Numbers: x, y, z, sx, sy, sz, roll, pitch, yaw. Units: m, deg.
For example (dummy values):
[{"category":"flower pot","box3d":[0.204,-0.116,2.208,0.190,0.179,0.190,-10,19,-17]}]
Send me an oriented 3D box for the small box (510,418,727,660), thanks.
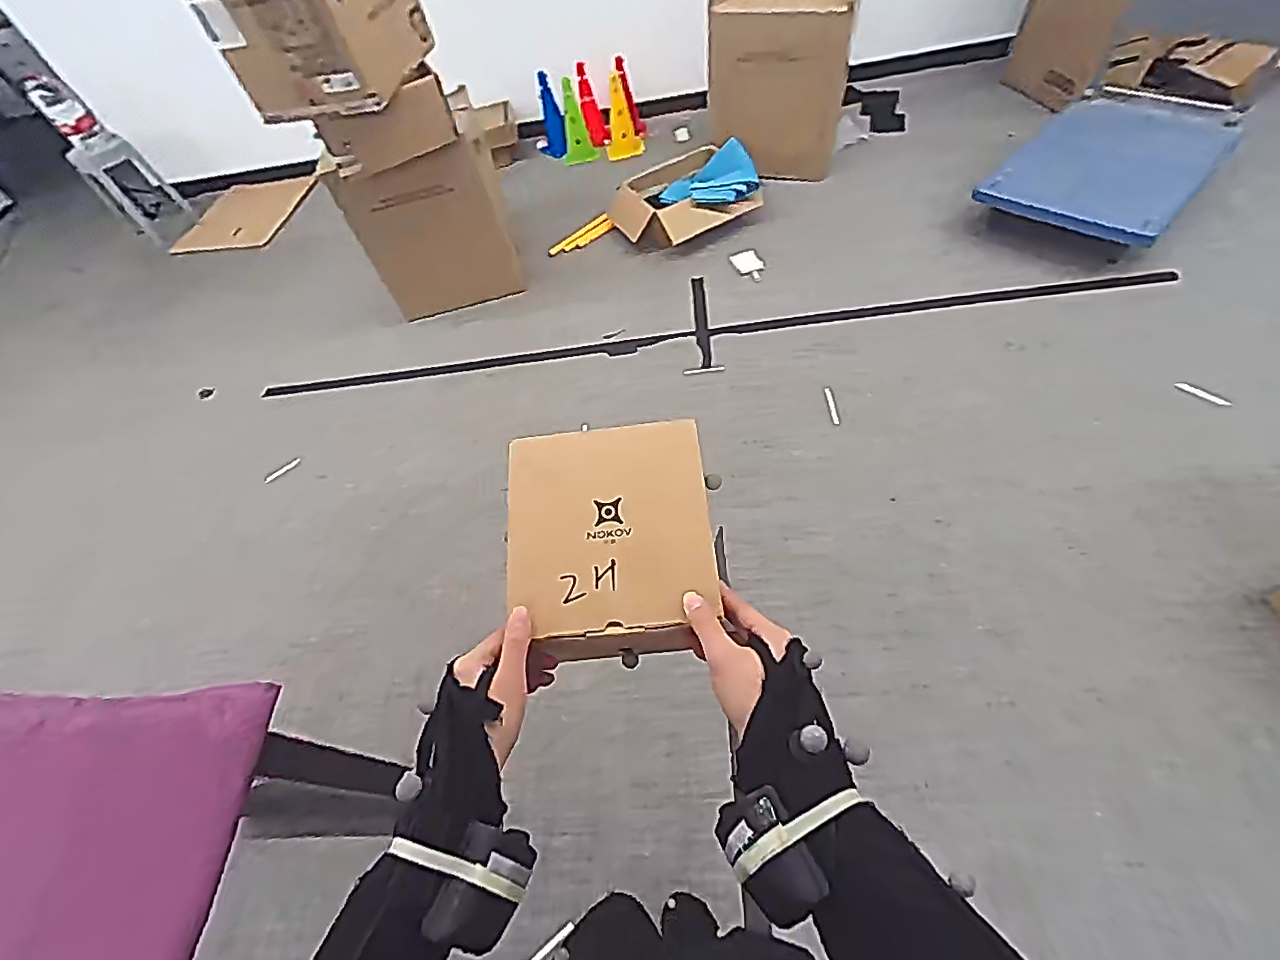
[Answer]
[{"category":"small box","box3d":[-0.015,0.064,0.509,0.168,0.176,0.179,-6,65,3]}]
